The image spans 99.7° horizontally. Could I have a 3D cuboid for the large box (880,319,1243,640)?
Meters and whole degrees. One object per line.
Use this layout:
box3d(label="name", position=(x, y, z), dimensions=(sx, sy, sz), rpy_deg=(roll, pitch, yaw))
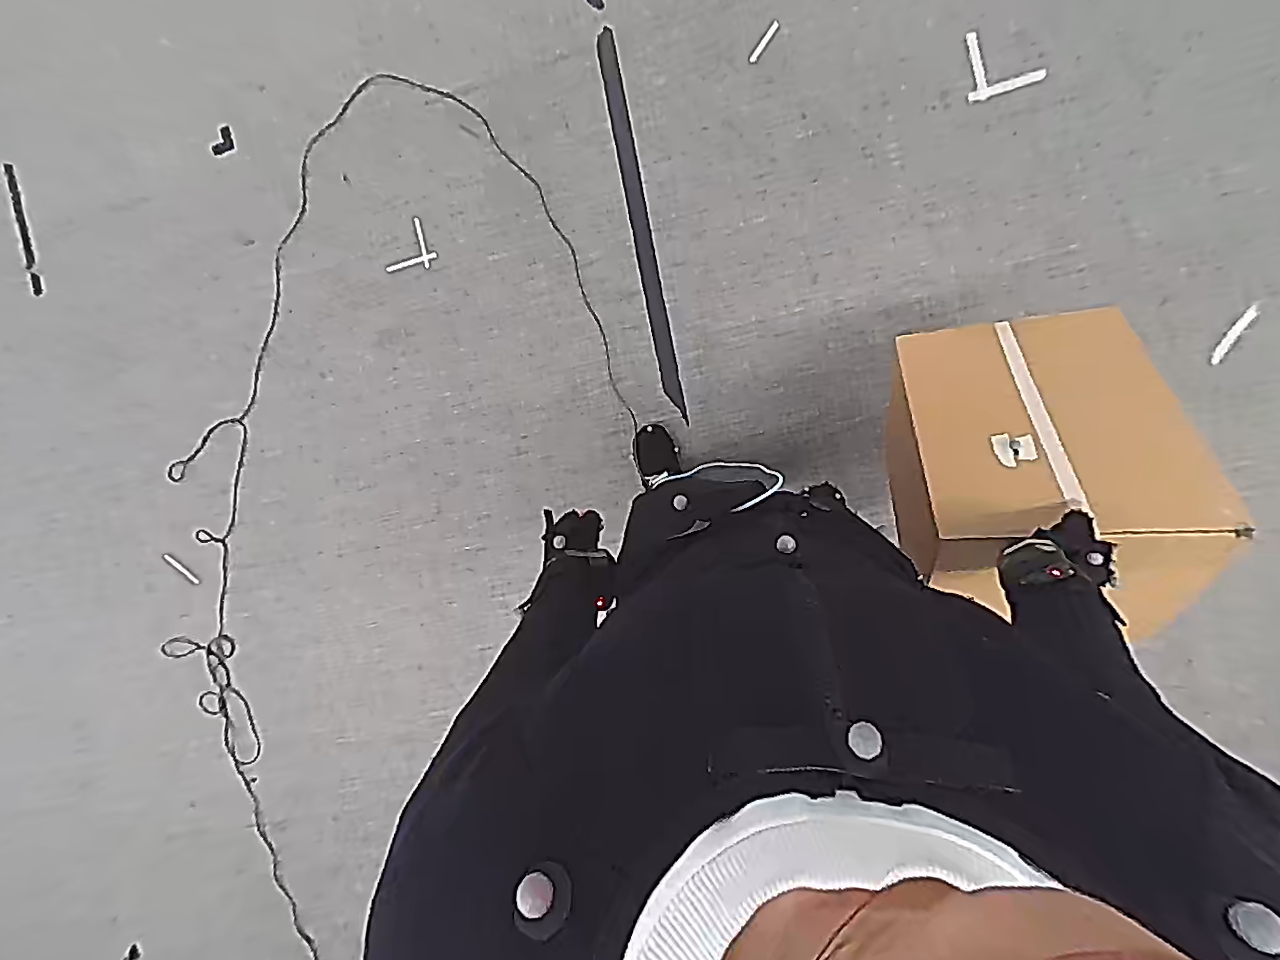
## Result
box3d(label="large box", position=(0.588, 0.007, 0.870), dimensions=(0.320, 0.320, 0.408), rpy_deg=(-5, 51, 18))
